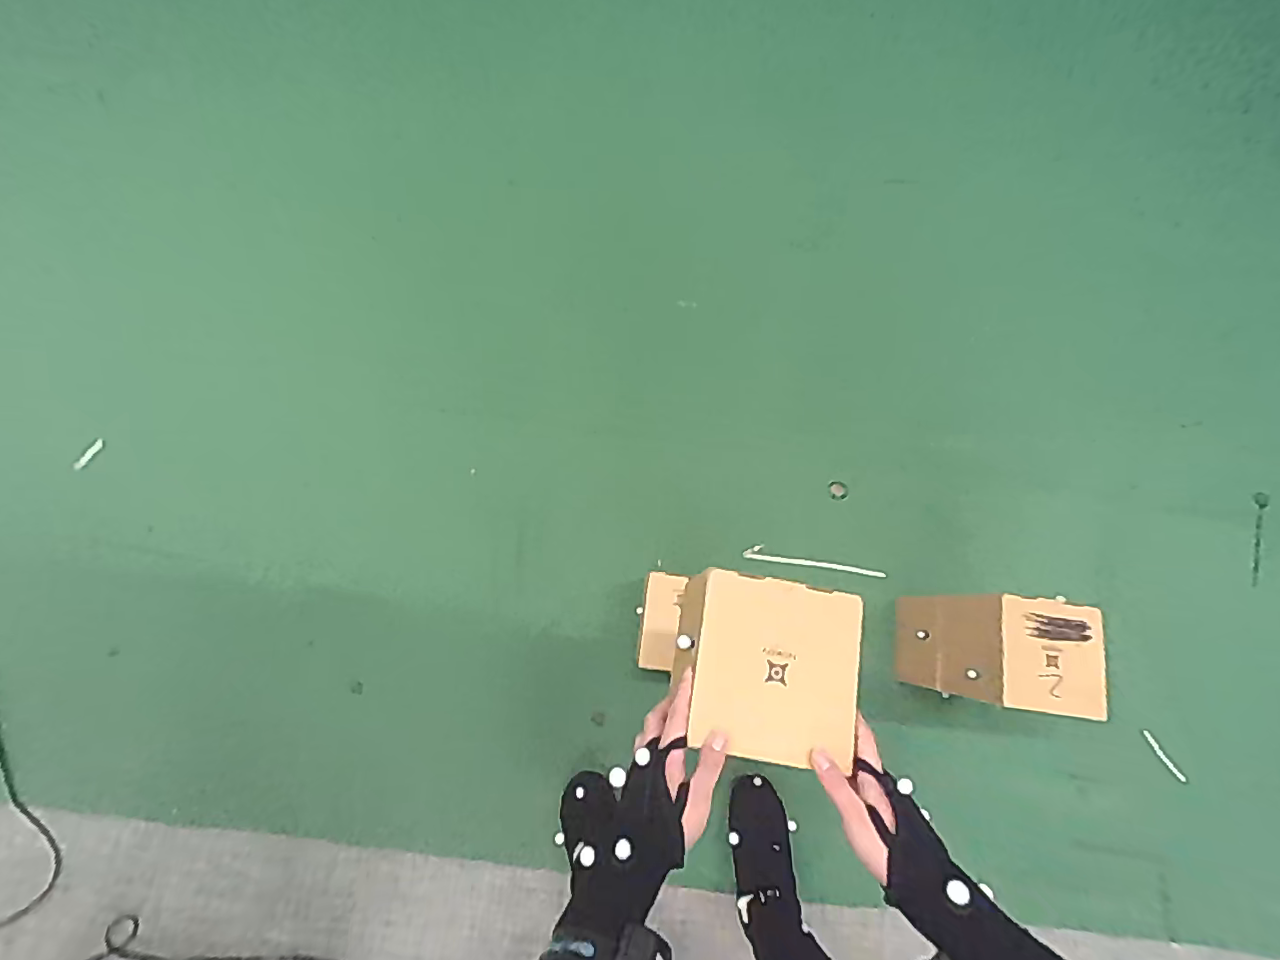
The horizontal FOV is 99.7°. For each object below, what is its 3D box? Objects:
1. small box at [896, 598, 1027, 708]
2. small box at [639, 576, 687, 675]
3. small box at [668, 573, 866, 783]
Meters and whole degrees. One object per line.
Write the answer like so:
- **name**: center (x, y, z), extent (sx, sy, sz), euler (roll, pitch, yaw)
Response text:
- **small box**: center (0.636, 0.340, 1.085), extent (0.168, 0.176, 0.179), euler (9, 76, 0)
- **small box**: center (0.090, 0.292, 1.076), extent (0.168, 0.176, 0.179), euler (7, 77, 0)
- **small box**: center (0.130, 0.208, 0.615), extent (0.168, 0.176, 0.179), euler (11, 81, -3)
